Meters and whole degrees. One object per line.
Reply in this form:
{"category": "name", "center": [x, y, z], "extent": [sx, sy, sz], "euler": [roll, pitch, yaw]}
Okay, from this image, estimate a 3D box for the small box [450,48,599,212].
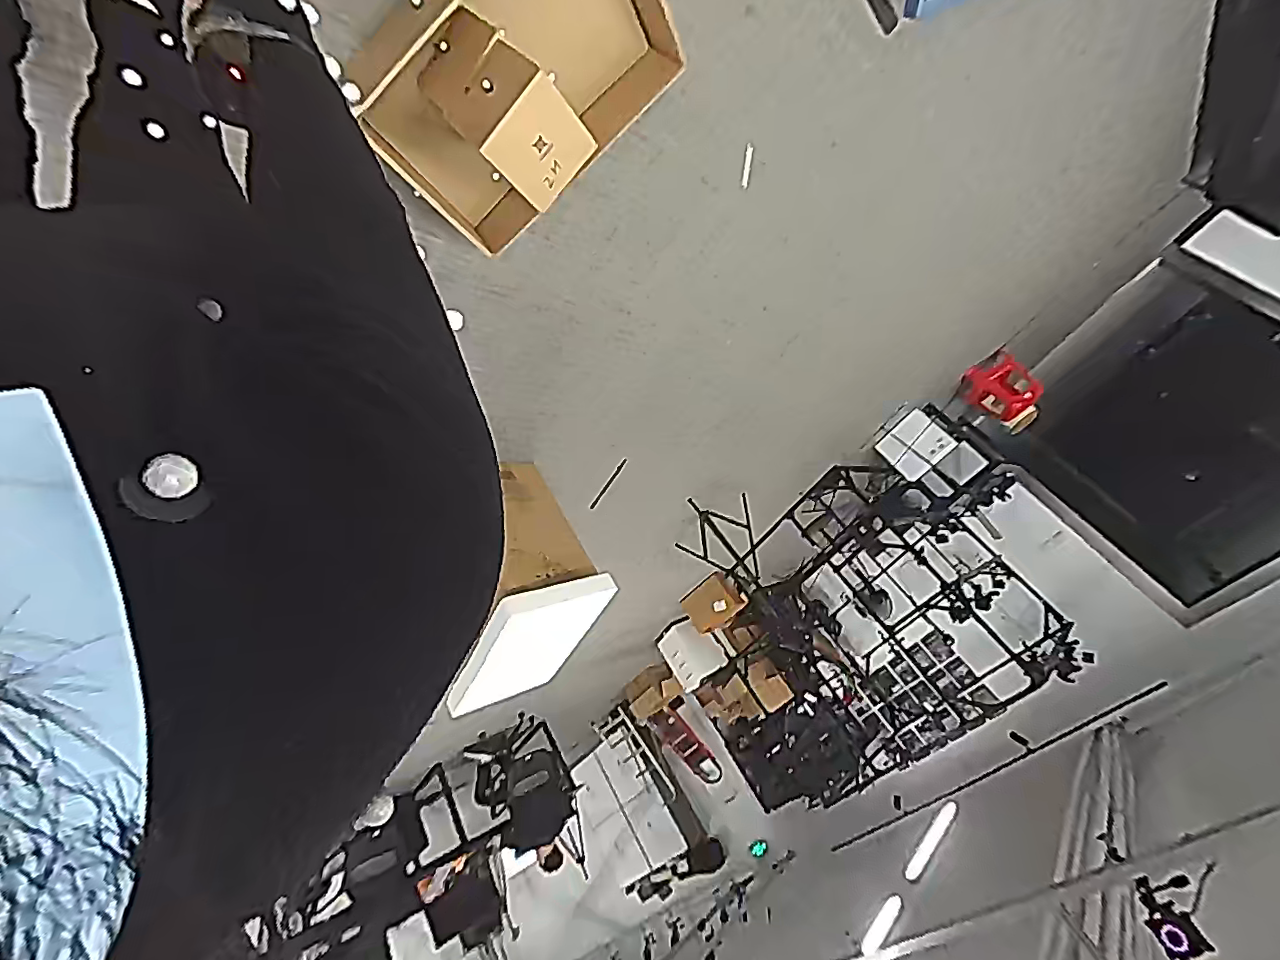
{"category": "small box", "center": [-0.215, -0.647, 0.998], "extent": [0.168, 0.176, 0.179], "euler": [-44, 152, 12]}
